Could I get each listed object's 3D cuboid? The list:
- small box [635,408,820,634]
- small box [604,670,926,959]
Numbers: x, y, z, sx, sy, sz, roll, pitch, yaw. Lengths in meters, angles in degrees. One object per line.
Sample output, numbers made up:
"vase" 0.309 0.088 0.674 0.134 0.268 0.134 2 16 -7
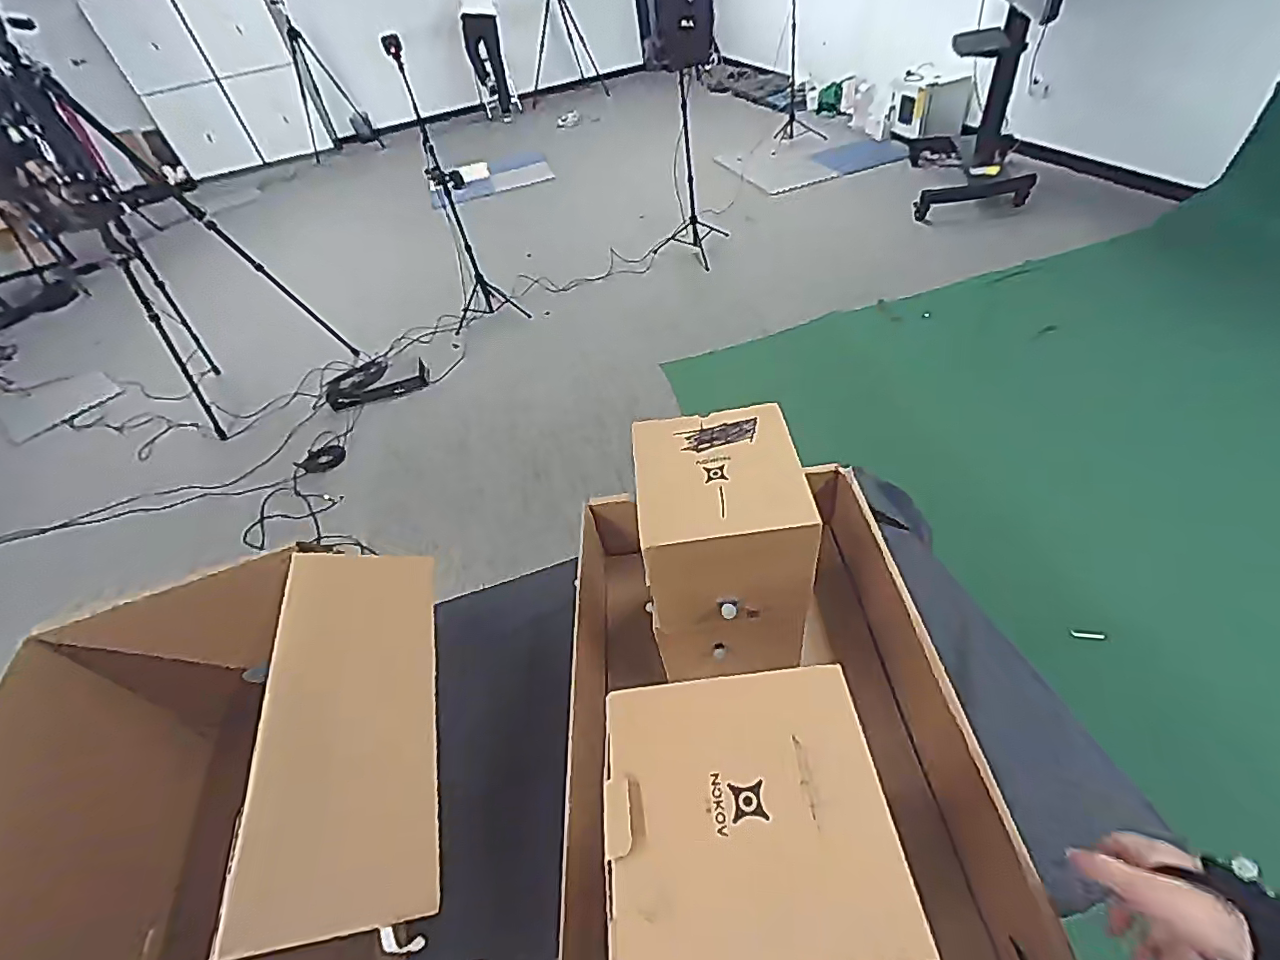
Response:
"small box" 0.088 0.047 0.601 0.168 0.176 0.179 -8 47 4
"small box" 0.075 0.264 0.402 0.179 0.176 0.168 -8 46 3
